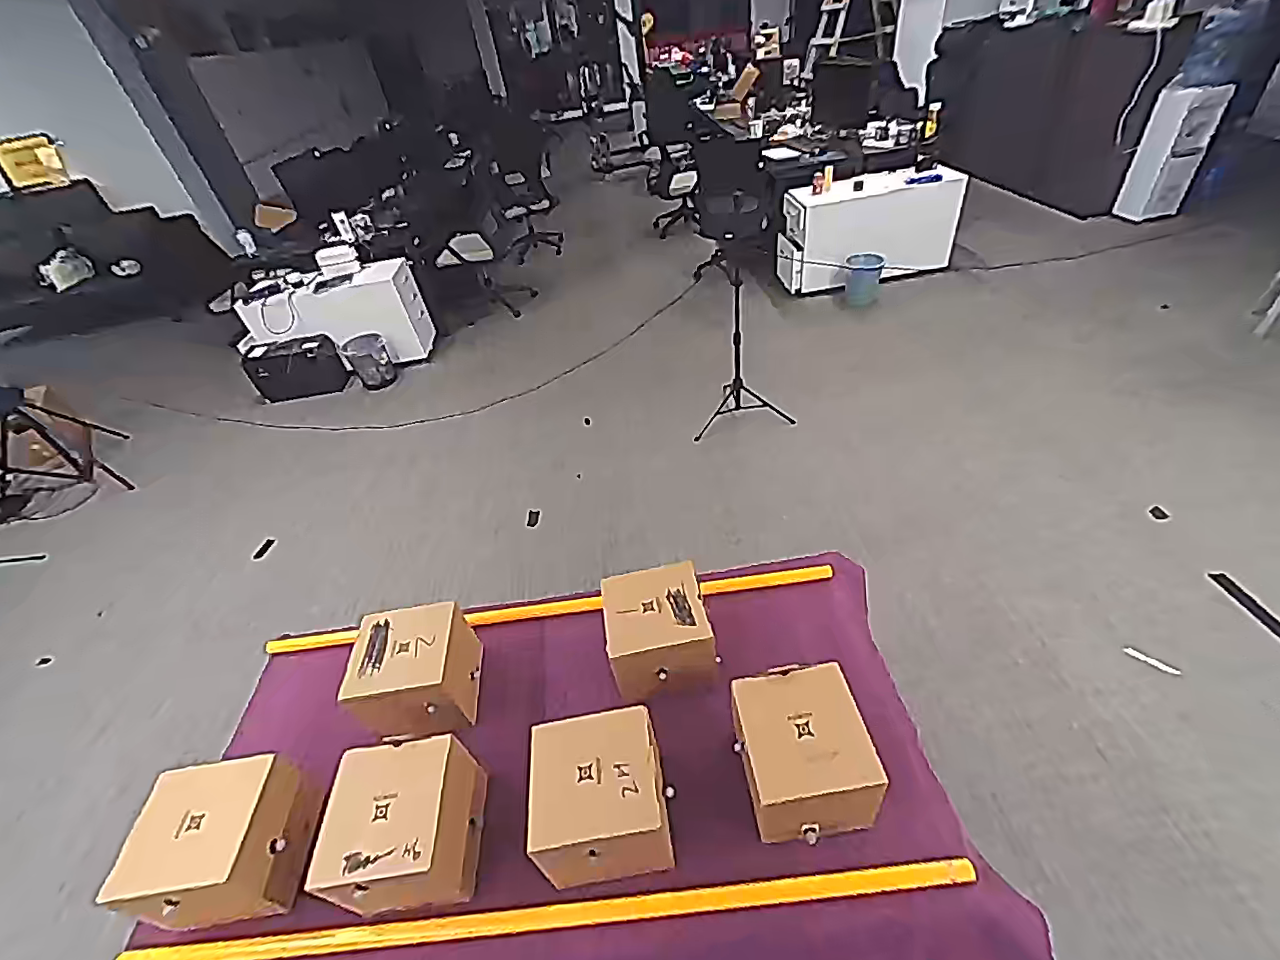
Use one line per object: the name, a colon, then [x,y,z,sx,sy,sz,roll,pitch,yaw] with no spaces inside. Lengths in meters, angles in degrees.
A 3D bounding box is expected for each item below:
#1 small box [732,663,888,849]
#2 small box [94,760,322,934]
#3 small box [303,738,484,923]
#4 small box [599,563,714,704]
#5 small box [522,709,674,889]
small box: [0.235,0.401,0.790,0.168,0.176,0.179,-11,39,2]
small box: [-0.618,0.548,0.807,0.179,0.176,0.168,-10,40,-1]
small box: [-0.340,0.510,0.790,0.168,0.176,0.179,-11,40,2]
small box: [0.032,0.278,0.976,0.179,0.176,0.168,-12,42,0]
small box: [-0.056,0.463,0.782,0.179,0.176,0.168,-11,40,1]
